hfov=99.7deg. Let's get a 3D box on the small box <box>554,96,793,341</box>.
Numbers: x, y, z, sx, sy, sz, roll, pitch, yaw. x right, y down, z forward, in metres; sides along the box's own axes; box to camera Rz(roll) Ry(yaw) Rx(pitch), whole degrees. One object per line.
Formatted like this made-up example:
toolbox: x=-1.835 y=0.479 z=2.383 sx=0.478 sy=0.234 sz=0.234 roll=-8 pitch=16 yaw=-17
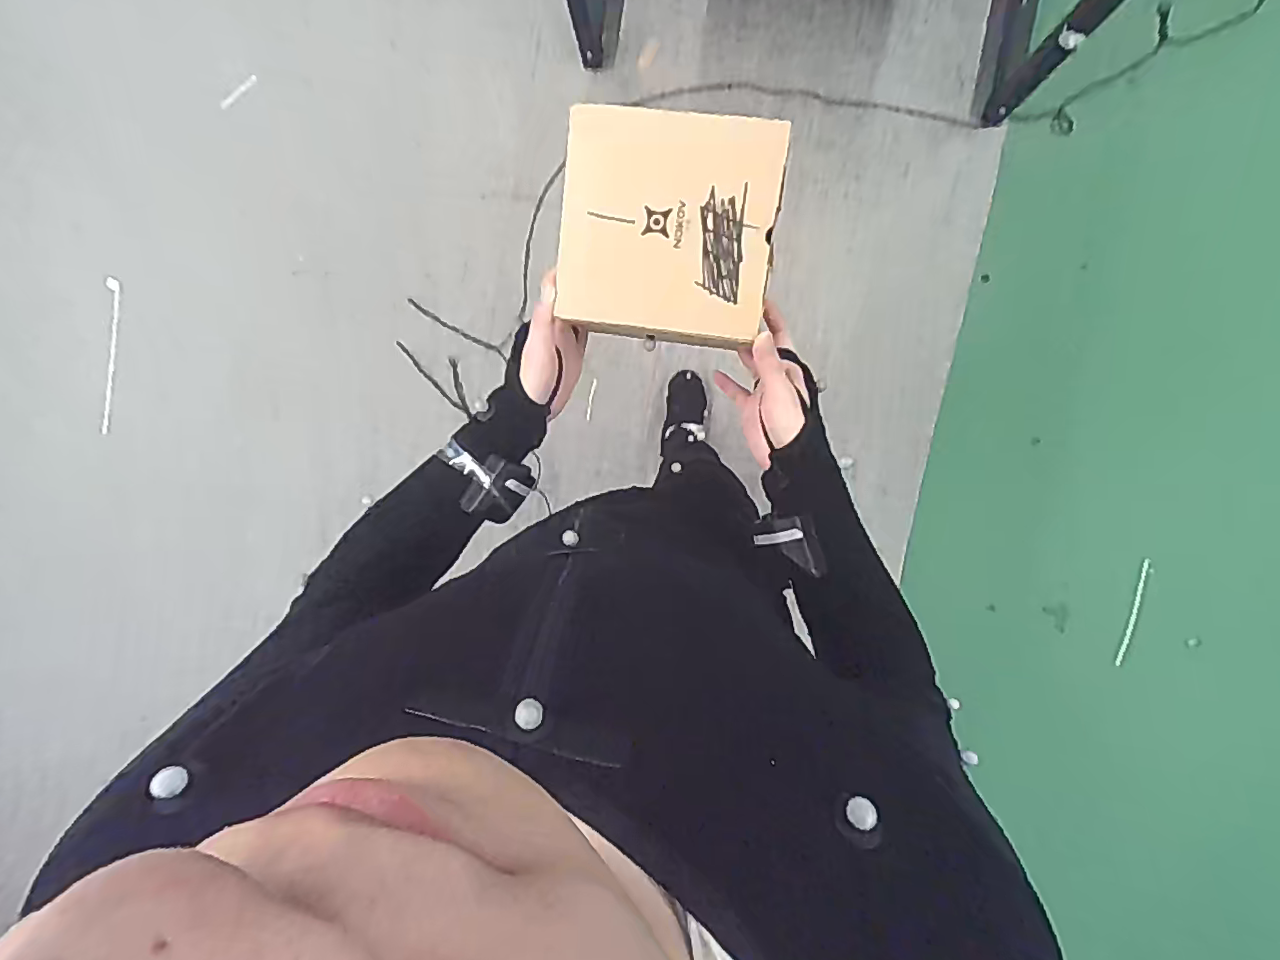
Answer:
small box: x=0.030 y=-0.226 z=0.511 sx=0.179 sy=0.176 sz=0.168 roll=8 pitch=102 yaw=5
